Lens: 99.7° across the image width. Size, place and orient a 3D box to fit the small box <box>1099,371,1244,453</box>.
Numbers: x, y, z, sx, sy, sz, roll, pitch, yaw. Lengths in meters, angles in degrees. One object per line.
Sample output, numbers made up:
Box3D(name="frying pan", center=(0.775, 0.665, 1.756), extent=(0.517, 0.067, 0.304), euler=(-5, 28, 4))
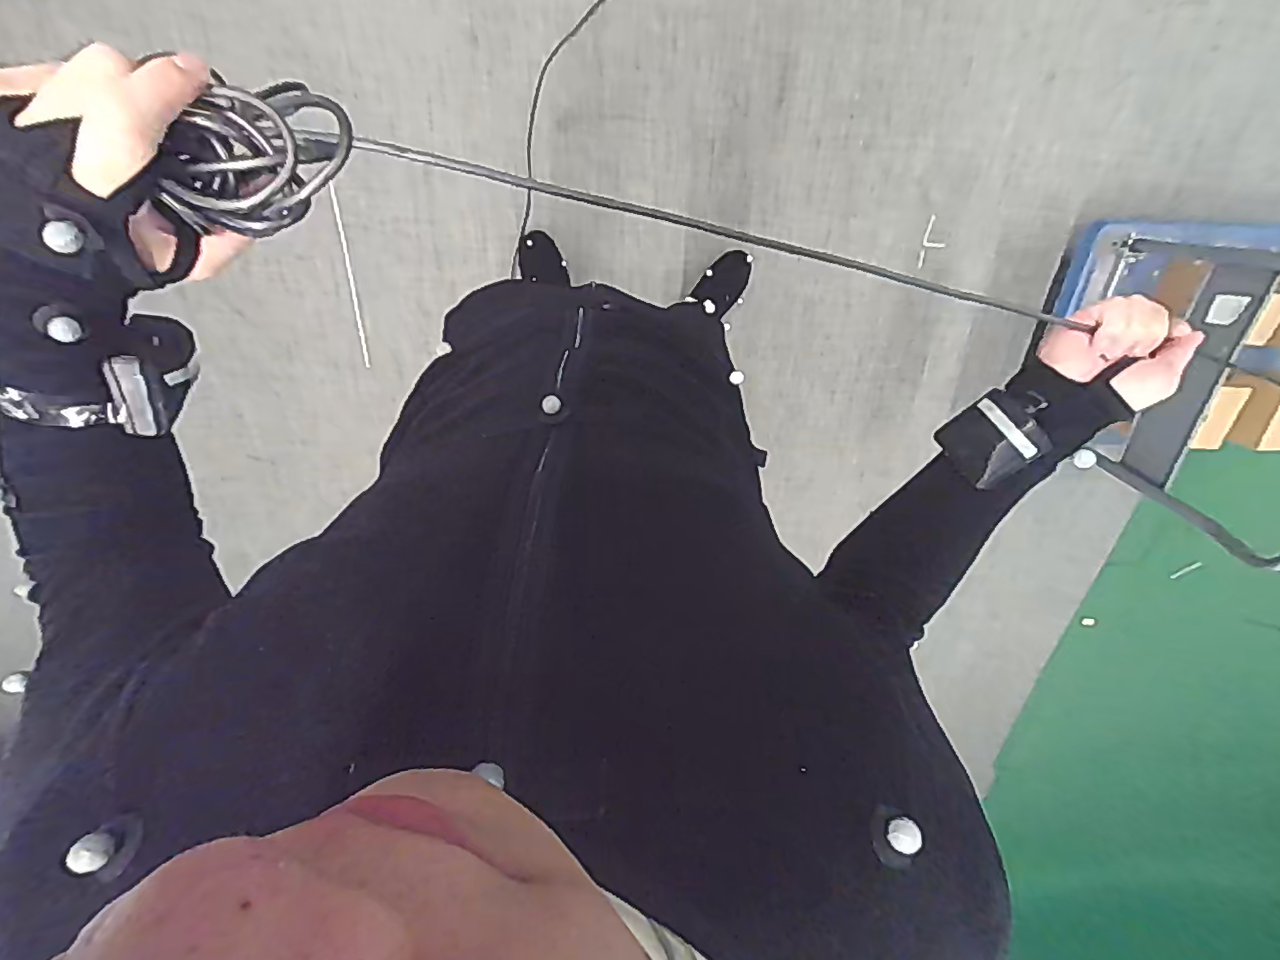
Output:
Box3D(name="small box", center=(1.378, -0.182, 1.416), extent=(0.179, 0.176, 0.168), euler=(2, 117, -3))

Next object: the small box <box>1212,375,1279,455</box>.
Box3D(name="small box", center=(1.648, -0.176, 1.430), extent=(0.179, 0.176, 0.168), euler=(-2, 117, 0))

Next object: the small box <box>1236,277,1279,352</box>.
Box3D(name="small box", center=(1.640, -0.399, 1.314), extent=(0.179, 0.176, 0.168), euler=(-2, 118, -1))
